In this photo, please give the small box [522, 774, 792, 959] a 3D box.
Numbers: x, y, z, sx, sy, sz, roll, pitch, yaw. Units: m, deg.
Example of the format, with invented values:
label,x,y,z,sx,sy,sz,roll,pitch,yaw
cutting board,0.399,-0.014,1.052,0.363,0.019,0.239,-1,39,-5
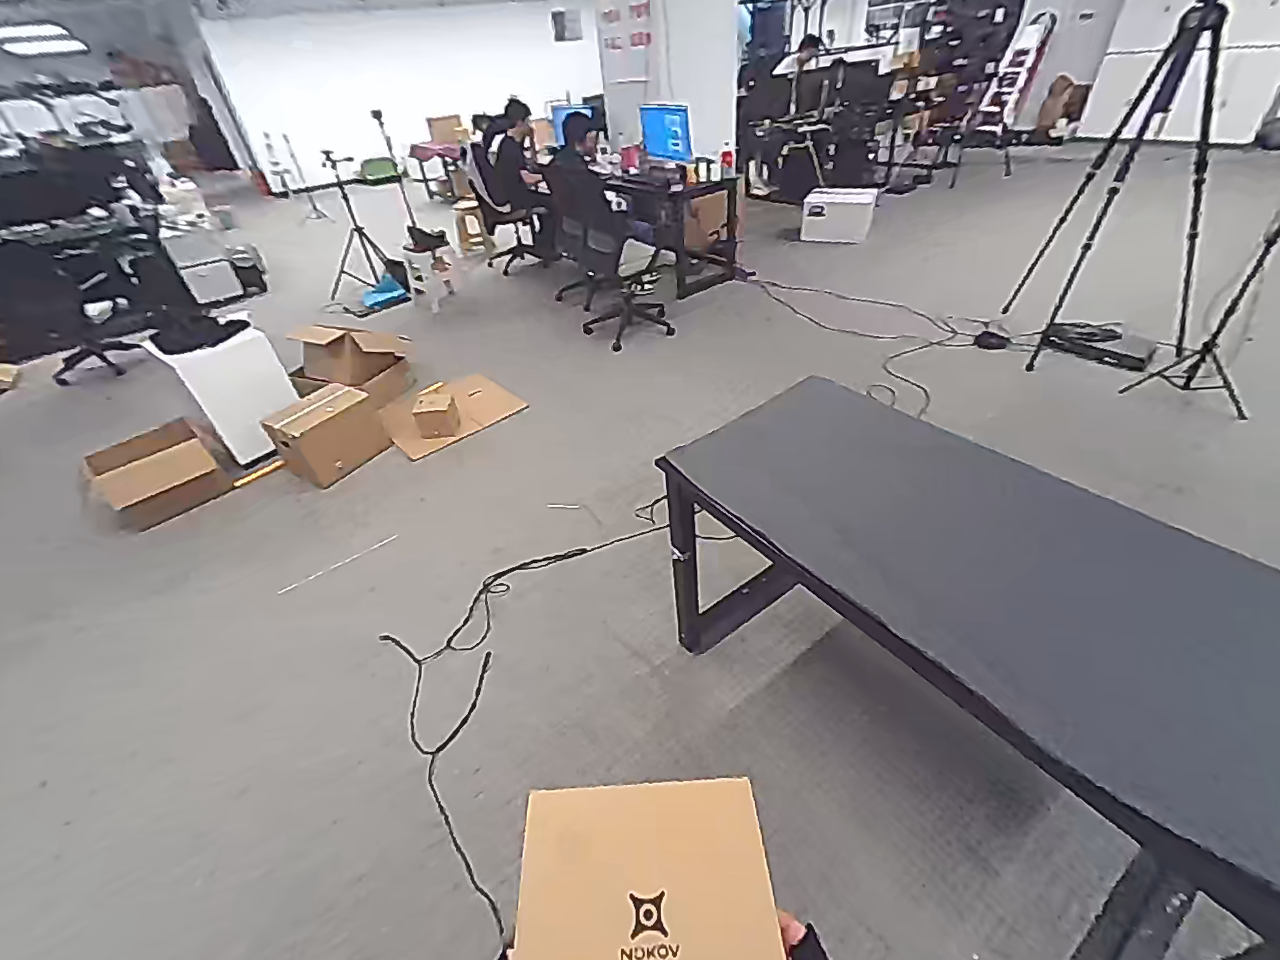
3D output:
label,x,y,z,sx,sy,sz,roll,pitch,yaw
small box,0.010,0.340,0.385,0.168,0.176,0.179,-3,39,-2
